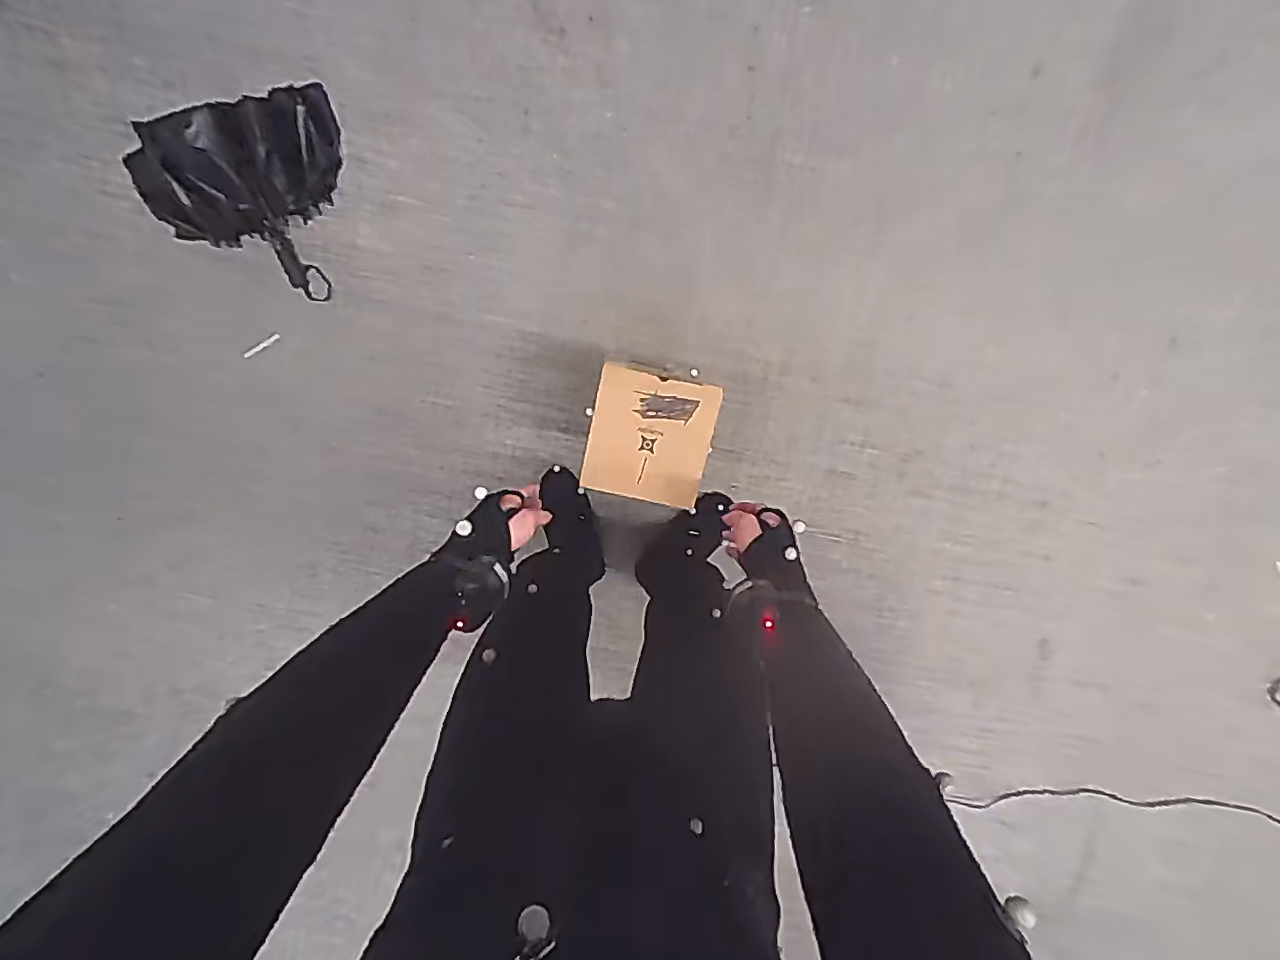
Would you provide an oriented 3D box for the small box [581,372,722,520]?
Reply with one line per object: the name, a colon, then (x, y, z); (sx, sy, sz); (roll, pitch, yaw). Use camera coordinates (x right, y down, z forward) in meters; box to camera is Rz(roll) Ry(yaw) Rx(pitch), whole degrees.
small box: (0.013, -0.061, 0.818); (0.168, 0.176, 0.179); (12, 104, -3)
